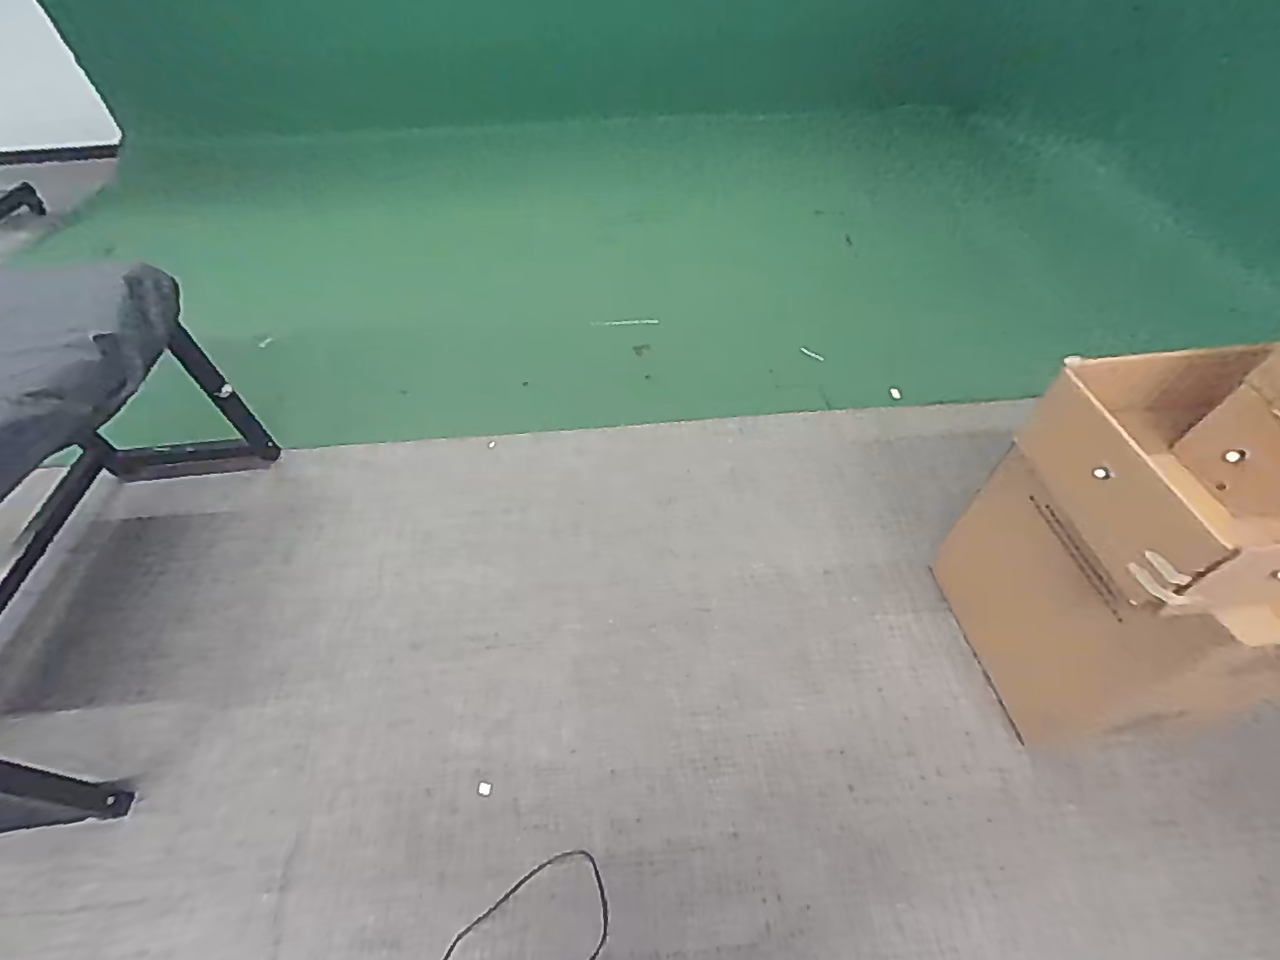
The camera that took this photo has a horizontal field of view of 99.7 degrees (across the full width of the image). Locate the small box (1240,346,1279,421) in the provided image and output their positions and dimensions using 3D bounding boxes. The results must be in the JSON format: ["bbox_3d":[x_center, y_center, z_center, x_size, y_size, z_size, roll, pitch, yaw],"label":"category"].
[{"bbox_3d":[1.059,-0.157,0.774,0.179,0.176,0.168,-8,51,-4],"label":"small box"}]
